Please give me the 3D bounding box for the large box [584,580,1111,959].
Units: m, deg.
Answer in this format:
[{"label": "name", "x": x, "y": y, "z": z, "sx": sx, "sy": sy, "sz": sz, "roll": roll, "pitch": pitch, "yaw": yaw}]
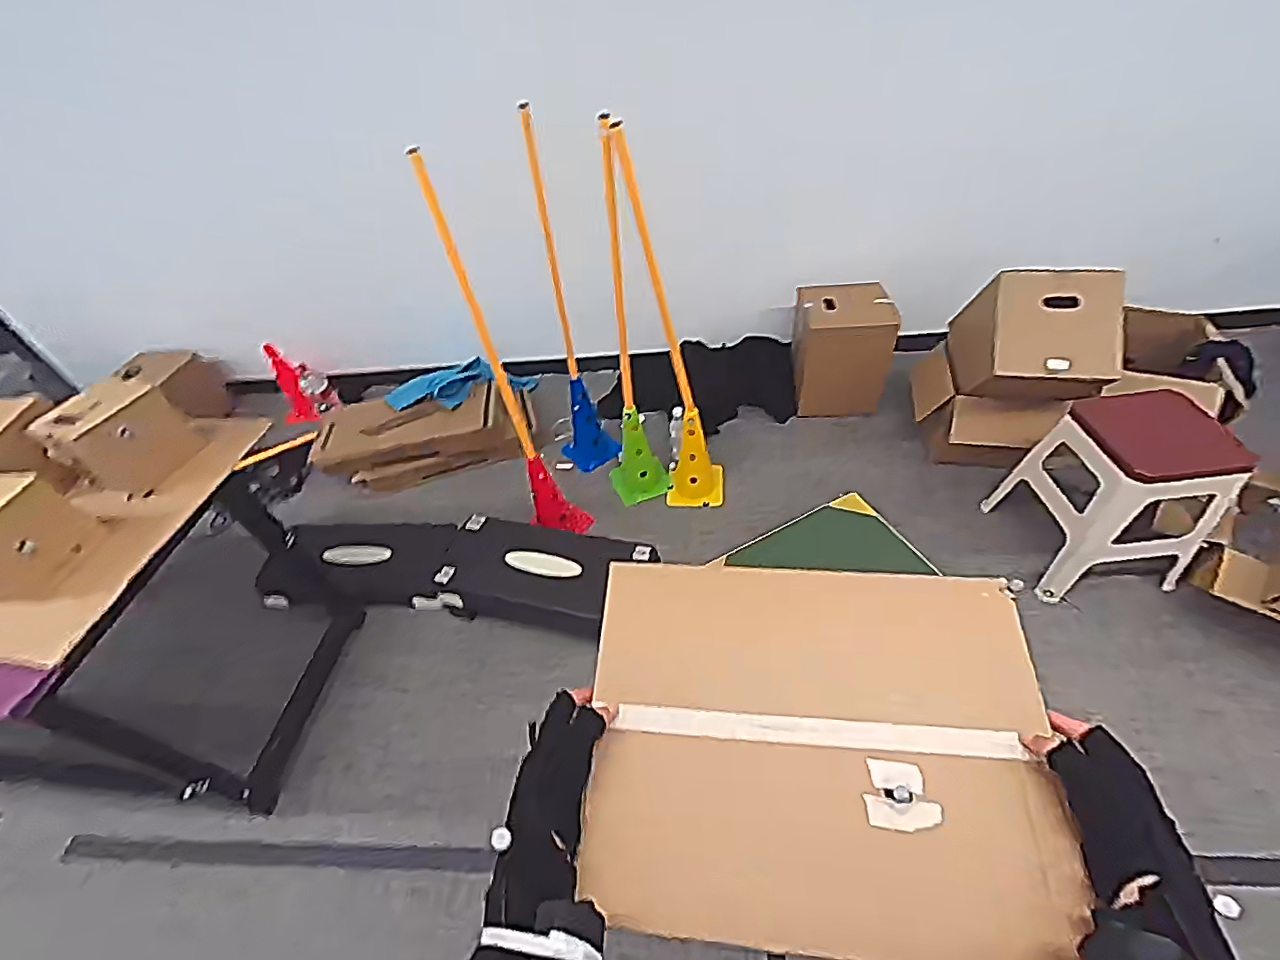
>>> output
[{"label": "large box", "x": 0.174, "y": 0.324, "z": 0.617, "sx": 0.408, "sy": 0.320, "sz": 0.320, "roll": 1, "pitch": 57, "yaw": 8}]
